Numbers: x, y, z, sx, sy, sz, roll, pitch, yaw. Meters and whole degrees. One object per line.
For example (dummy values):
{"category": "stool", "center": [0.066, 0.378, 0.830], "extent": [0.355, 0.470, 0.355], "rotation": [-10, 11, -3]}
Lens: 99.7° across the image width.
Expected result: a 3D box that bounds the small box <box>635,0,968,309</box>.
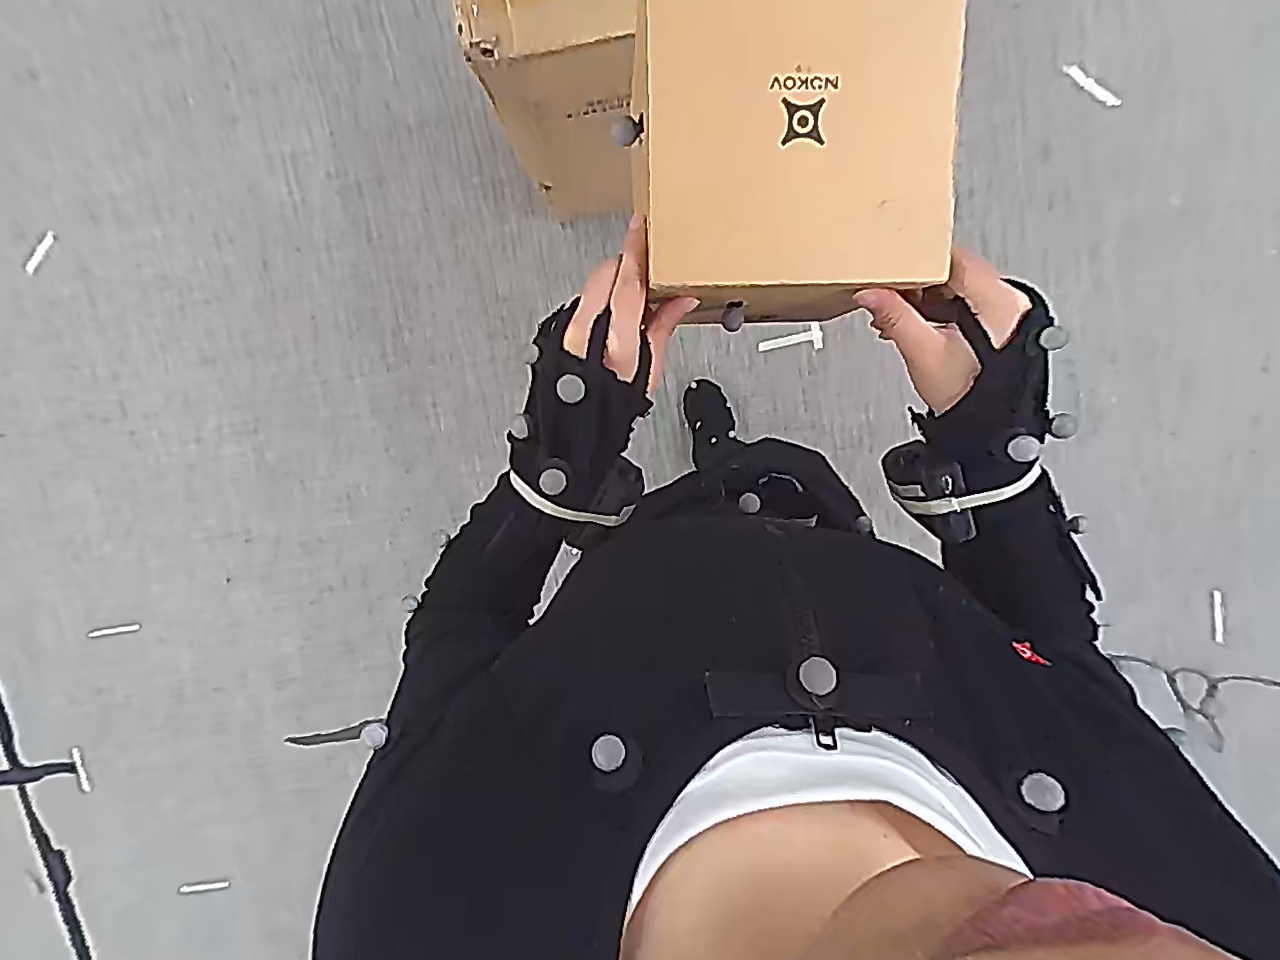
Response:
{"category": "small box", "center": [0.082, -0.213, 0.356], "extent": [0.168, 0.176, 0.179], "rotation": [-2, 98, -1]}
